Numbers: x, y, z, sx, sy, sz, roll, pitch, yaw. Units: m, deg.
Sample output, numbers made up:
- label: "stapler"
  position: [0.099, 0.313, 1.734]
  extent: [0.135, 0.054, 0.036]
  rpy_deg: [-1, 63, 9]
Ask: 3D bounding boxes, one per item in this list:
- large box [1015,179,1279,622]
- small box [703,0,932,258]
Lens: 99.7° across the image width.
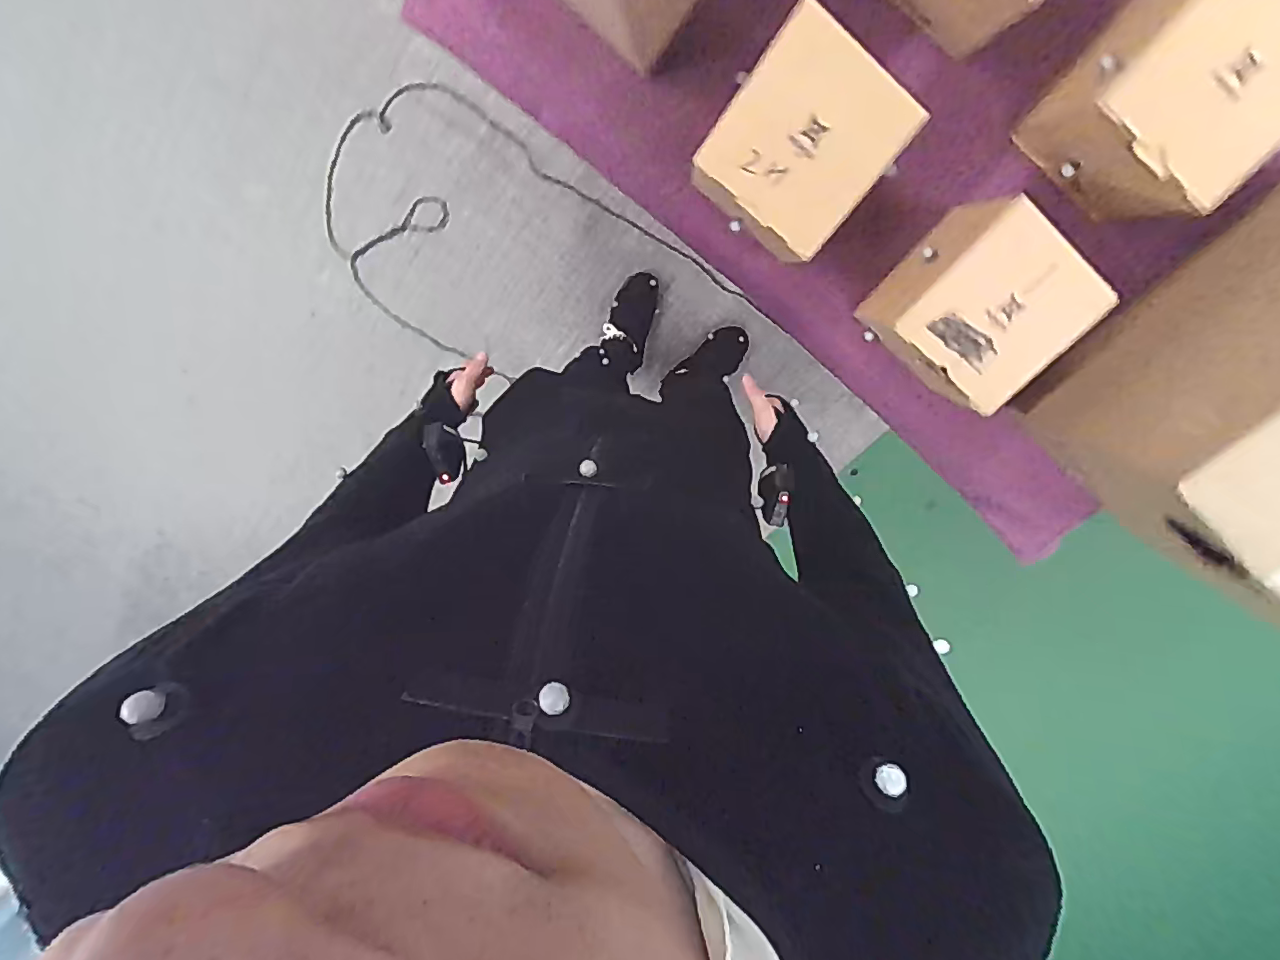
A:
- label: "large box"
  position: [0.774, -0.097, 0.622]
  extent: [0.320, 0.320, 0.408]
  rpy_deg: [39, 112, -10]
- label: "small box"
  position: [0.184, -0.383, 0.627]
  extent: [0.168, 0.176, 0.179]
  rpy_deg: [37, 111, -9]
